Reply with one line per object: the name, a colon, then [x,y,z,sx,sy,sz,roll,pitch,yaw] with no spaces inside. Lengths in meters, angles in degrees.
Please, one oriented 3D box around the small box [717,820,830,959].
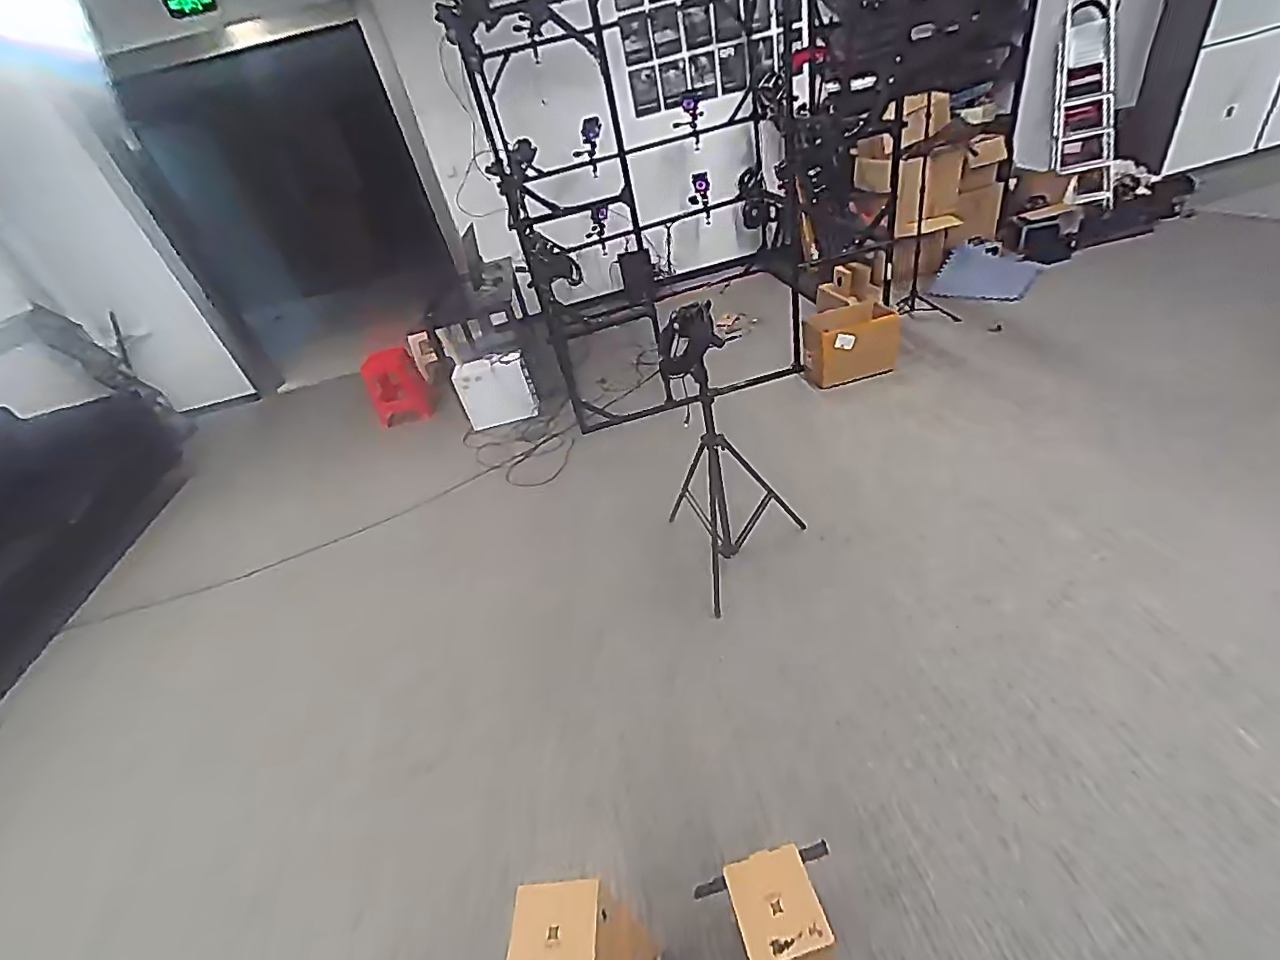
small box: [0.266,0.836,1.093,0.168,0.176,0.179,-17,36,-3]
